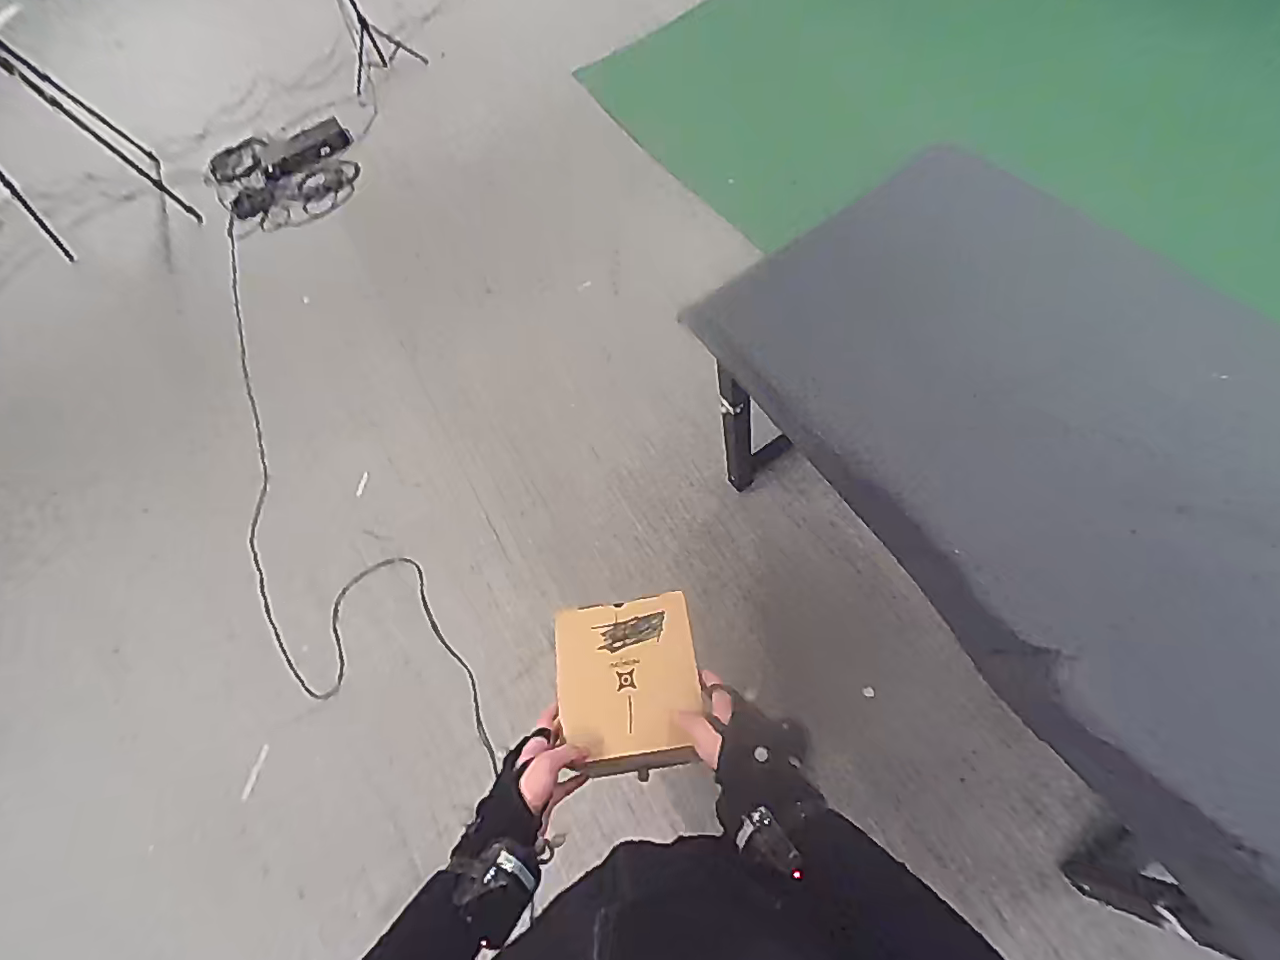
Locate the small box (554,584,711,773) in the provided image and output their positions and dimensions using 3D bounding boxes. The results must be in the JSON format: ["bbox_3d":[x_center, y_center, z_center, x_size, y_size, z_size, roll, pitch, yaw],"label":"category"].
[{"bbox_3d":[-0.008,0.253,0.678,0.168,0.176,0.179,-10,57,2],"label":"small box"}]
